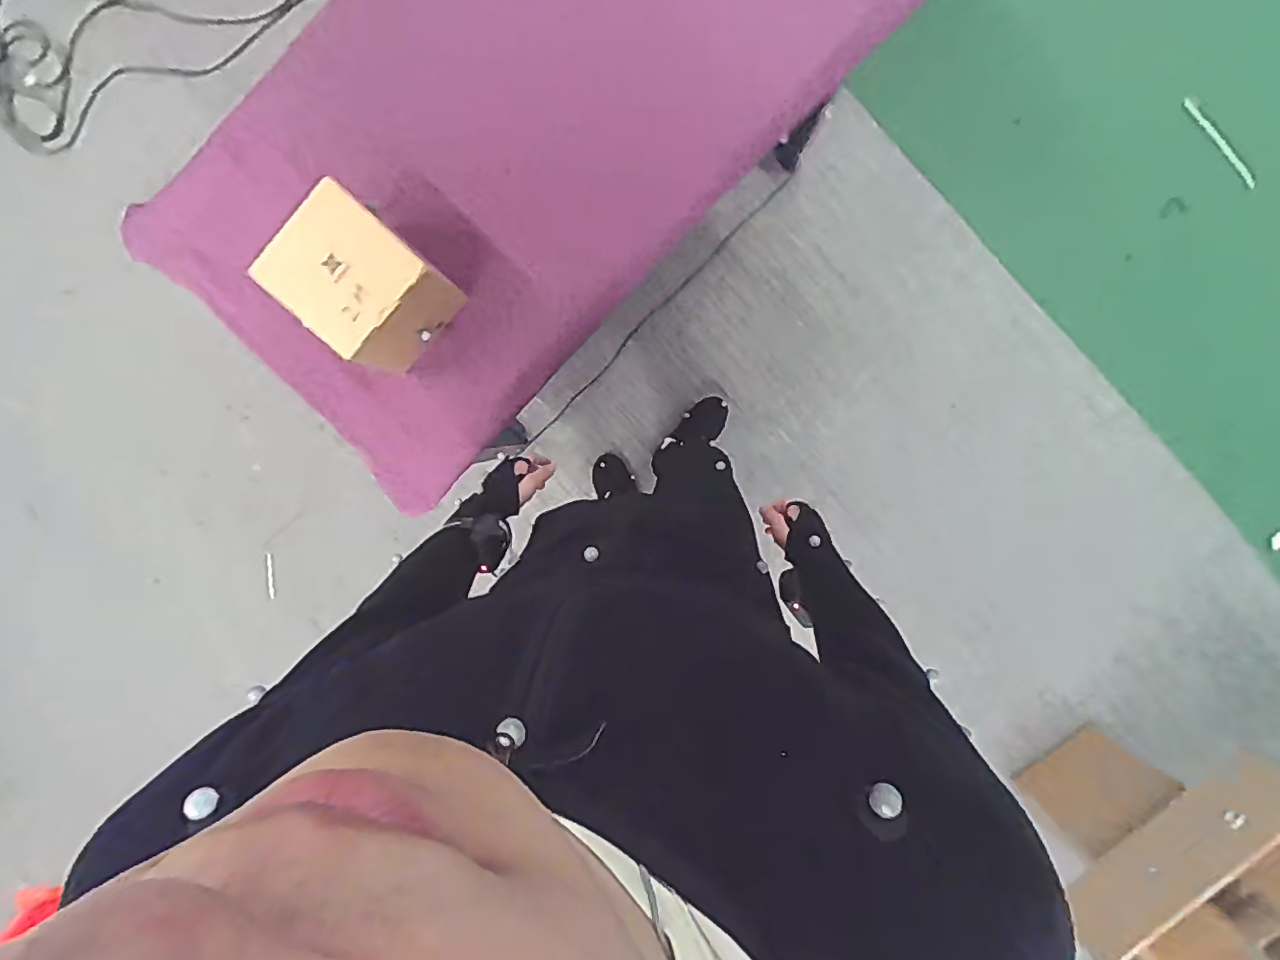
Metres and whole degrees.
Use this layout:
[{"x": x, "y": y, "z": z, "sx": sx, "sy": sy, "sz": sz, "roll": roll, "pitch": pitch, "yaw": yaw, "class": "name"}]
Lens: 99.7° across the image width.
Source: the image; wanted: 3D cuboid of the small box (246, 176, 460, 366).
[{"x": -0.399, "y": -0.284, "z": 0.784, "sx": 0.179, "sy": 0.176, "sz": 0.168, "roll": 42, "pitch": 95, "yaw": -3, "class": "small box"}]

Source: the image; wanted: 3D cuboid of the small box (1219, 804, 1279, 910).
[{"x": 1.457, "y": 0.861, "z": 1.181, "sx": 0.179, "sy": 0.176, "sz": 0.168, "roll": -44, "pitch": 93, "yaw": 6, "class": "small box"}]
